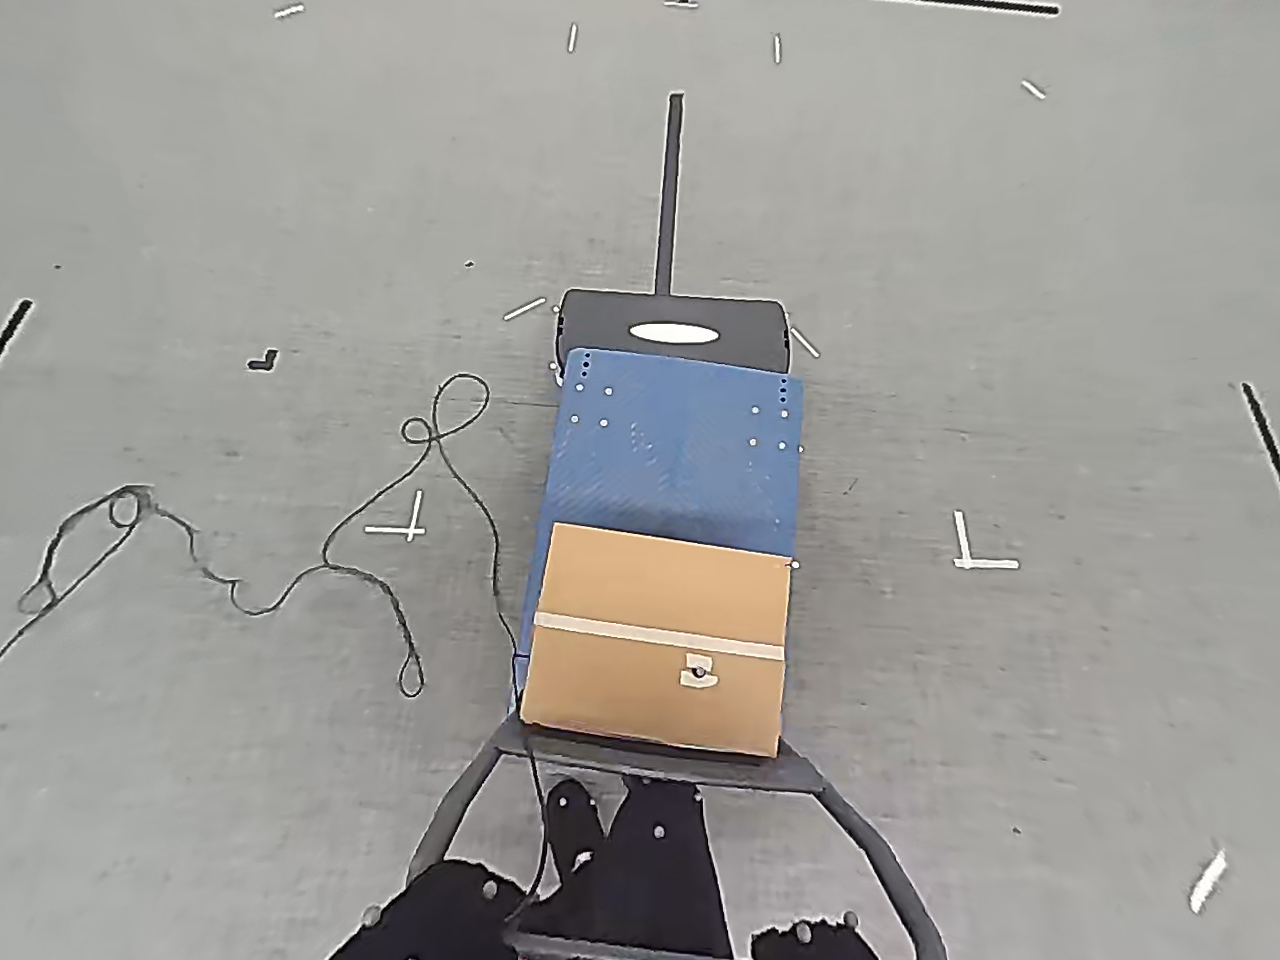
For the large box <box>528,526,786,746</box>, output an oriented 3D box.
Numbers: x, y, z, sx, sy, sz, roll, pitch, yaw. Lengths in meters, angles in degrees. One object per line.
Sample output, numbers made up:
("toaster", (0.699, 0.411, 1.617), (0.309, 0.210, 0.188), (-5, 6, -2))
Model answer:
("large box", (0.027, 0.288, 1.038), (0.408, 0.320, 0.320), (9, 77, -1))
